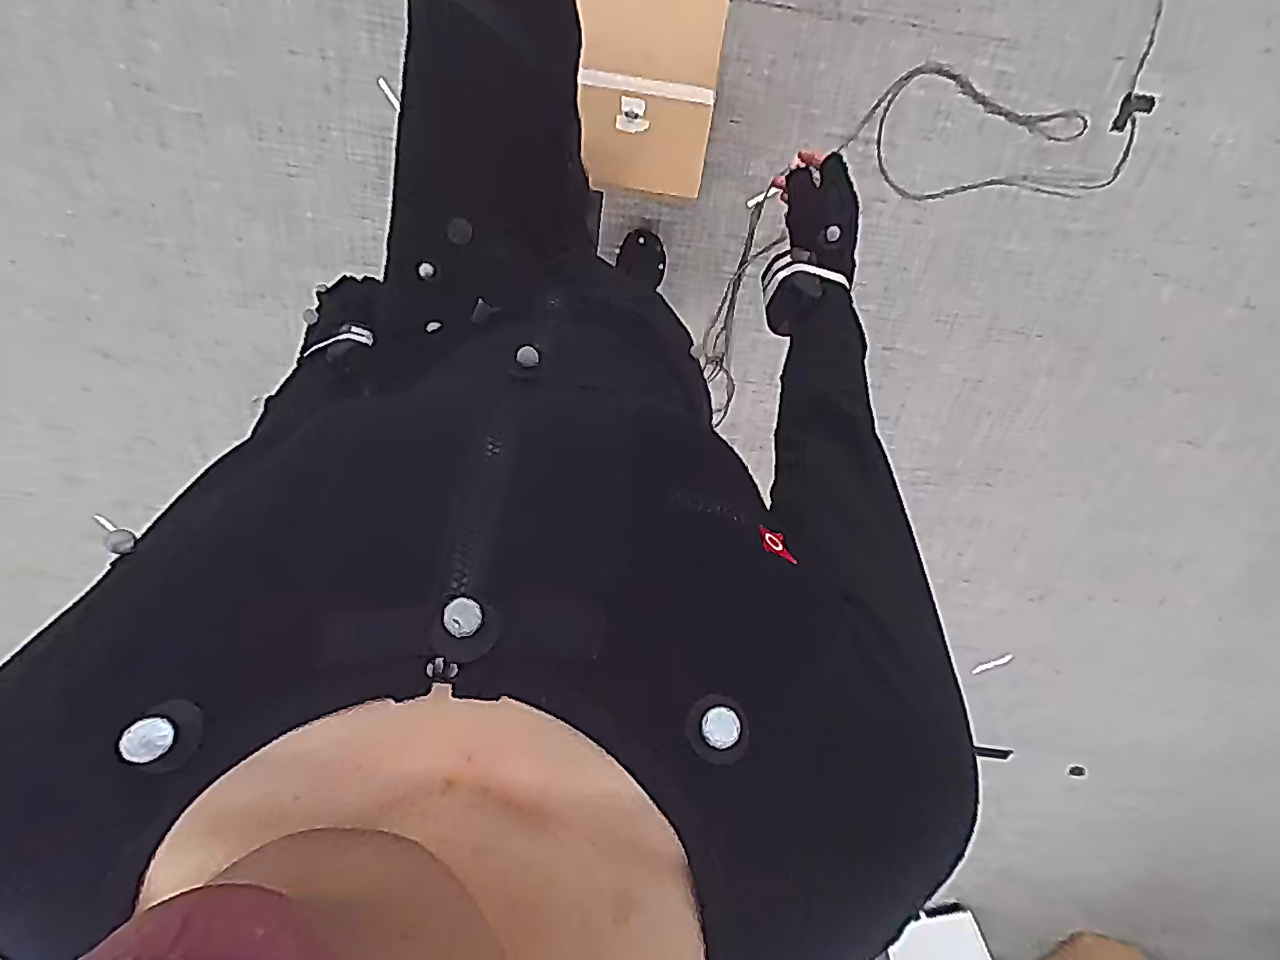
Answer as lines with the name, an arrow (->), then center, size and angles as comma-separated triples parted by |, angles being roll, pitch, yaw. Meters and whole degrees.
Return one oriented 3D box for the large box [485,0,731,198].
large box -> -0.064, -0.758, 1.056 | 0.408, 0.320, 0.320 | 8, 116, -2
